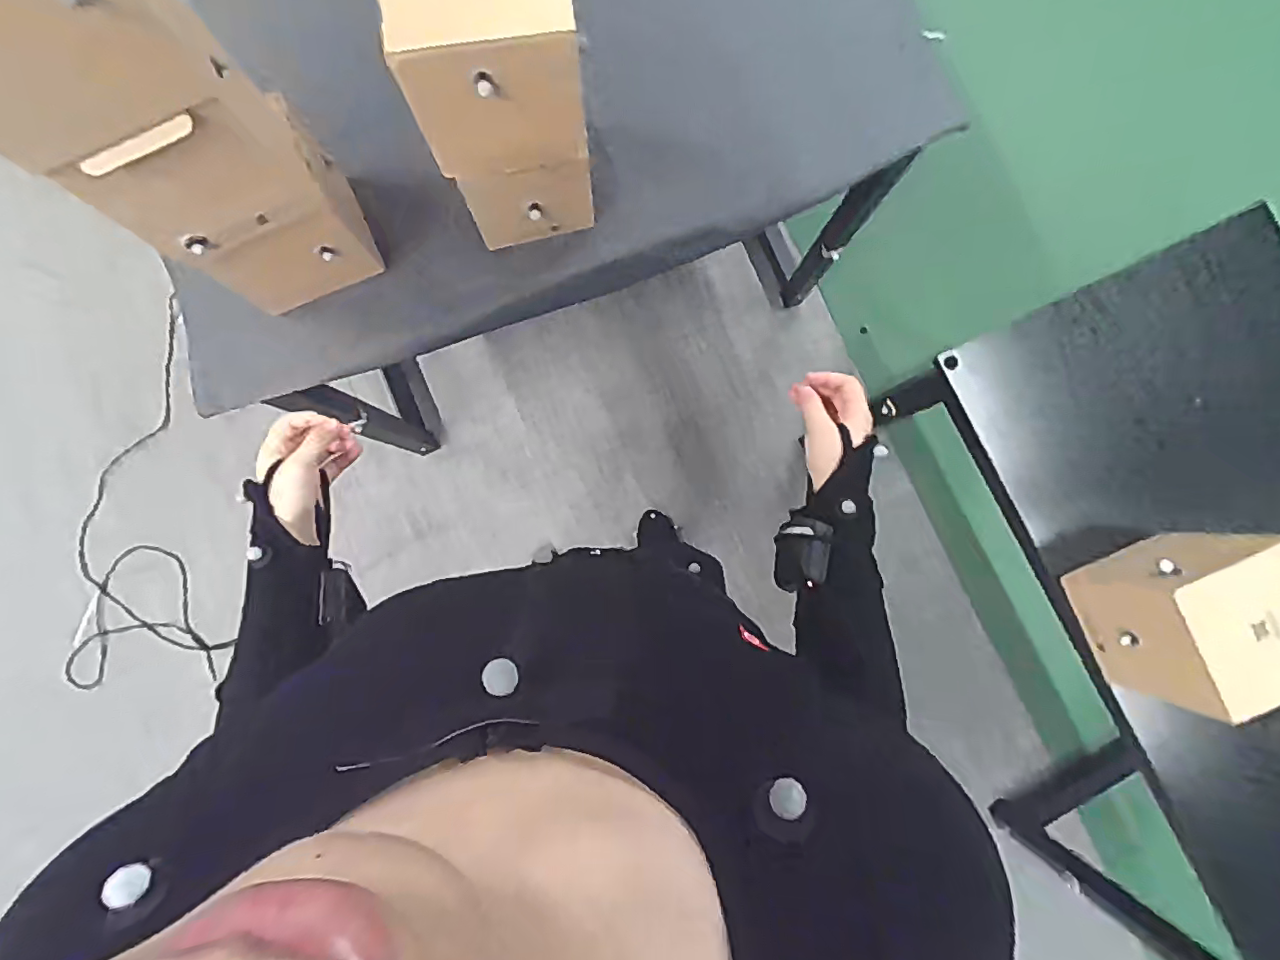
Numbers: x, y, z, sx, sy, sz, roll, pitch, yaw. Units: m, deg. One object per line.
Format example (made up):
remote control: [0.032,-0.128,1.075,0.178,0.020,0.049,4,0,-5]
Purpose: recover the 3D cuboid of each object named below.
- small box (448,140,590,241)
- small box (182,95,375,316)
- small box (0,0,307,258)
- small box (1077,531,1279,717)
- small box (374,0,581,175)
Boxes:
small box: [-0.170,-0.451,0.736,0.168,0.176,0.179,-15,85,-2]
small box: [-0.486,-0.350,0.722,0.179,0.176,0.168,-25,84,-3]
small box: [-0.491,-0.361,0.557,0.168,0.176,0.179,-29,84,-4]
small box: [0.728,0.174,0.708,0.179,0.176,0.168,-22,87,-3]
small box: [-0.161,-0.460,0.572,0.179,0.176,0.168,-10,84,-1]
